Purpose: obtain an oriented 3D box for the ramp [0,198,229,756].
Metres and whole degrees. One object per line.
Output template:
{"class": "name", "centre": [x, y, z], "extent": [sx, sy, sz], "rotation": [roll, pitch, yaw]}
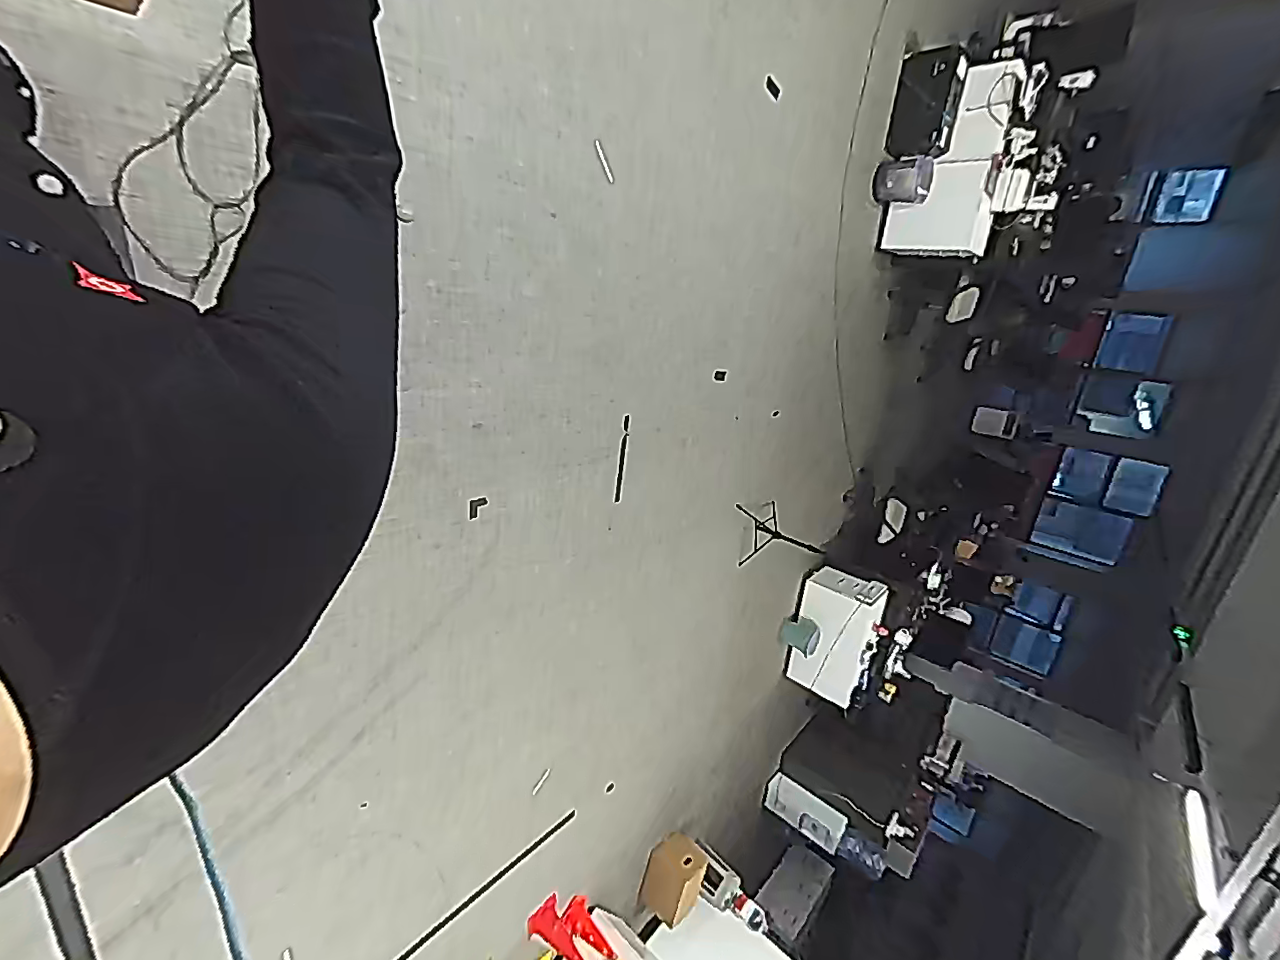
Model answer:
{"class": "ramp", "centre": [-1.149, 0.011, 0.987], "extent": [0.509, 0.206, 0.991], "rotation": [-17, 119, -44]}
